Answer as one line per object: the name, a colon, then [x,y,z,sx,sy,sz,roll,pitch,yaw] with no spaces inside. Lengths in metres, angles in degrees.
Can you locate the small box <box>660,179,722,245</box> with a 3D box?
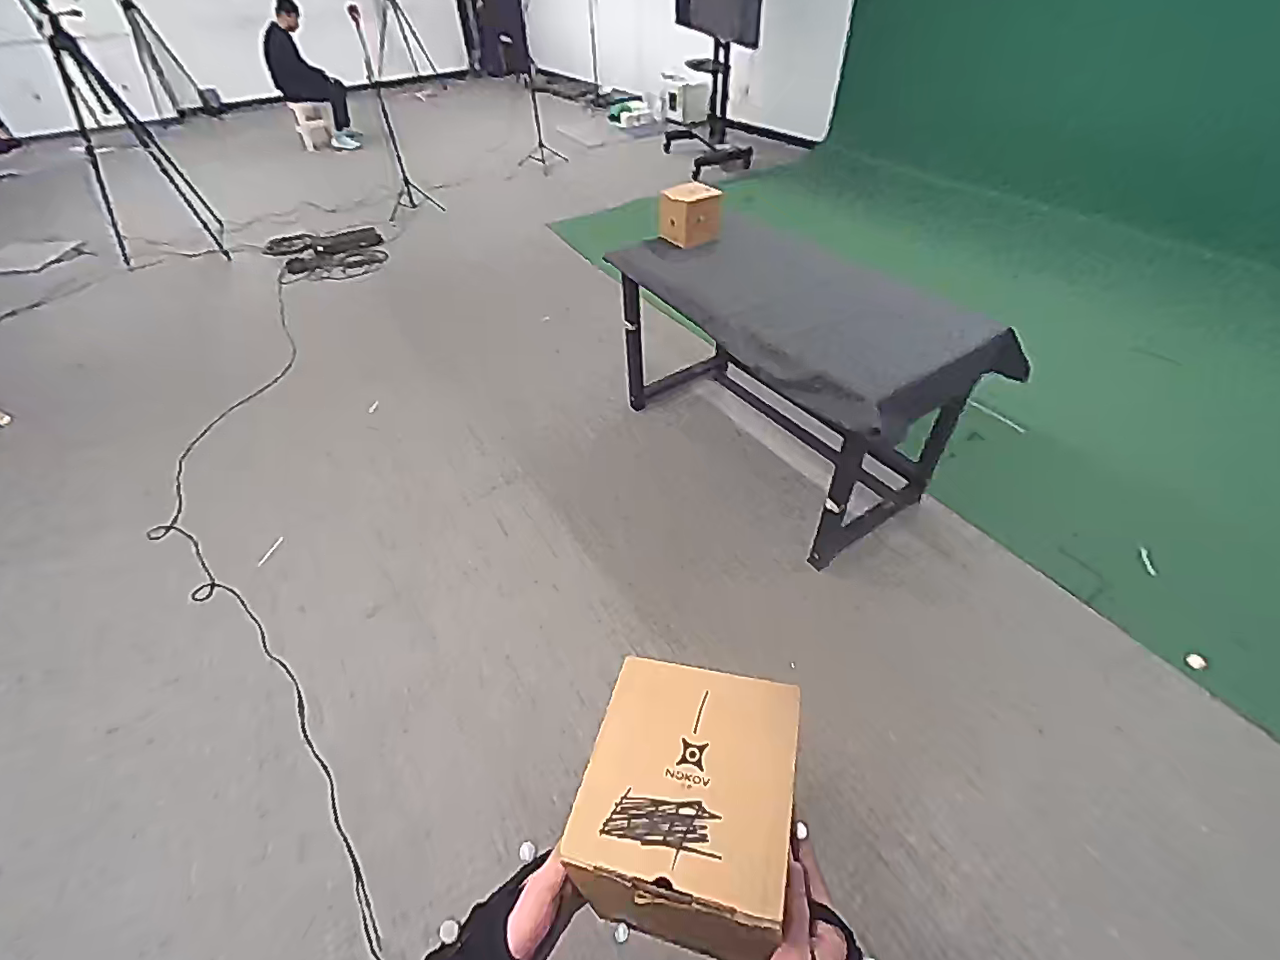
small box: [0.194,-1.021,2.064,0.179,0.176,0.168,-28,52,-21]

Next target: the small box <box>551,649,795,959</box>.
small box: [0.046,0.285,0.484,0.168,0.176,0.179,4,40,18]
